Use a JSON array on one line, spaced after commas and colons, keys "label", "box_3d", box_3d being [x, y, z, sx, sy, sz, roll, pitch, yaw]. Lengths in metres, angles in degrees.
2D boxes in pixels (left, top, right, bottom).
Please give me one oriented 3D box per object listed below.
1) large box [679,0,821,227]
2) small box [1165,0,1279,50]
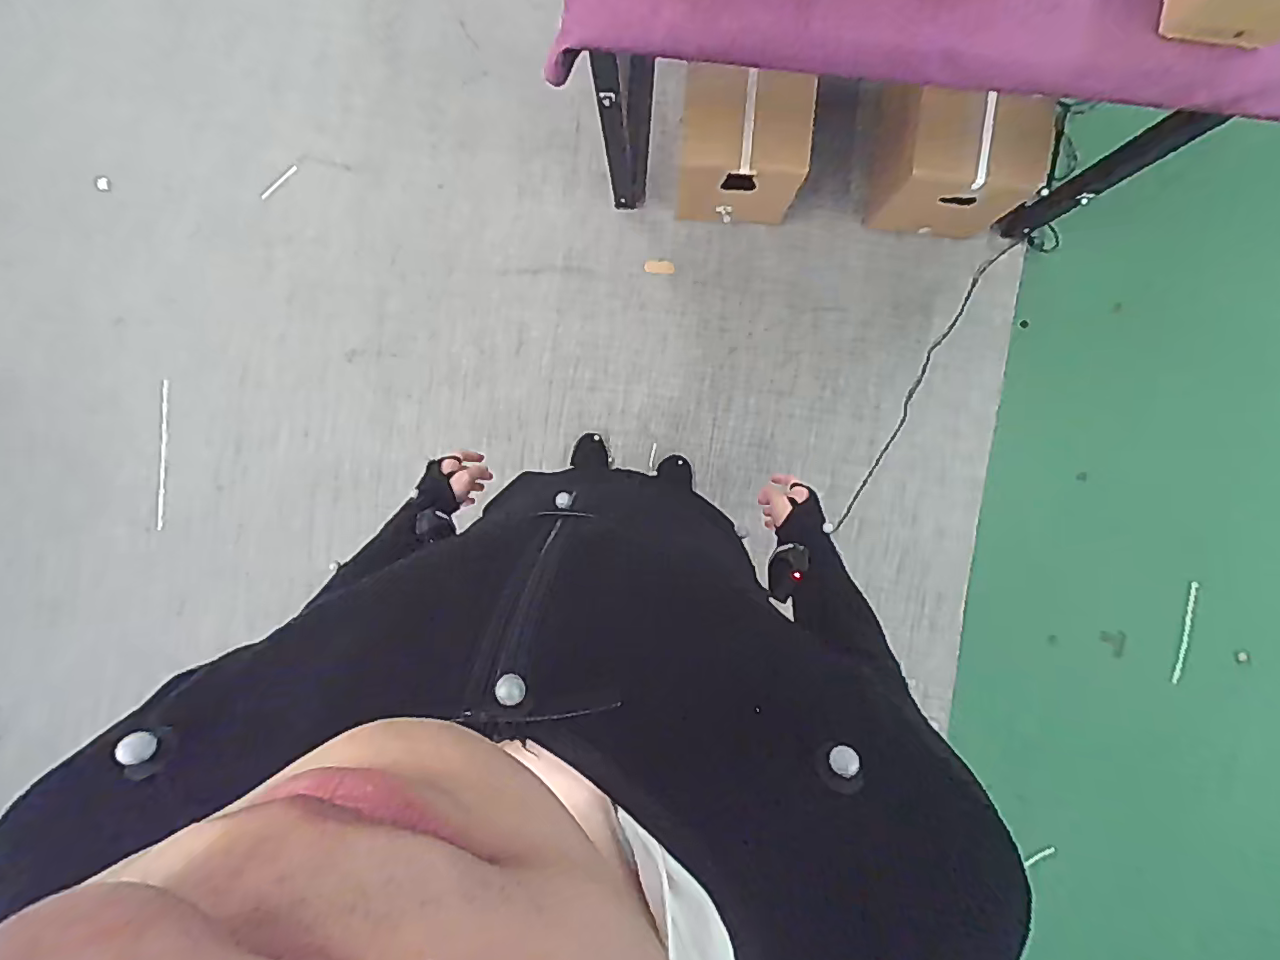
[{"label": "large box", "box_3d": [0.268, -0.935, 1.428, 0.320, 0.320, 0.408, 4, 92, 1]}, {"label": "small box", "box_3d": [0.894, -0.757, 0.751, 0.168, 0.176, 0.179, 9, 91, 3]}]
